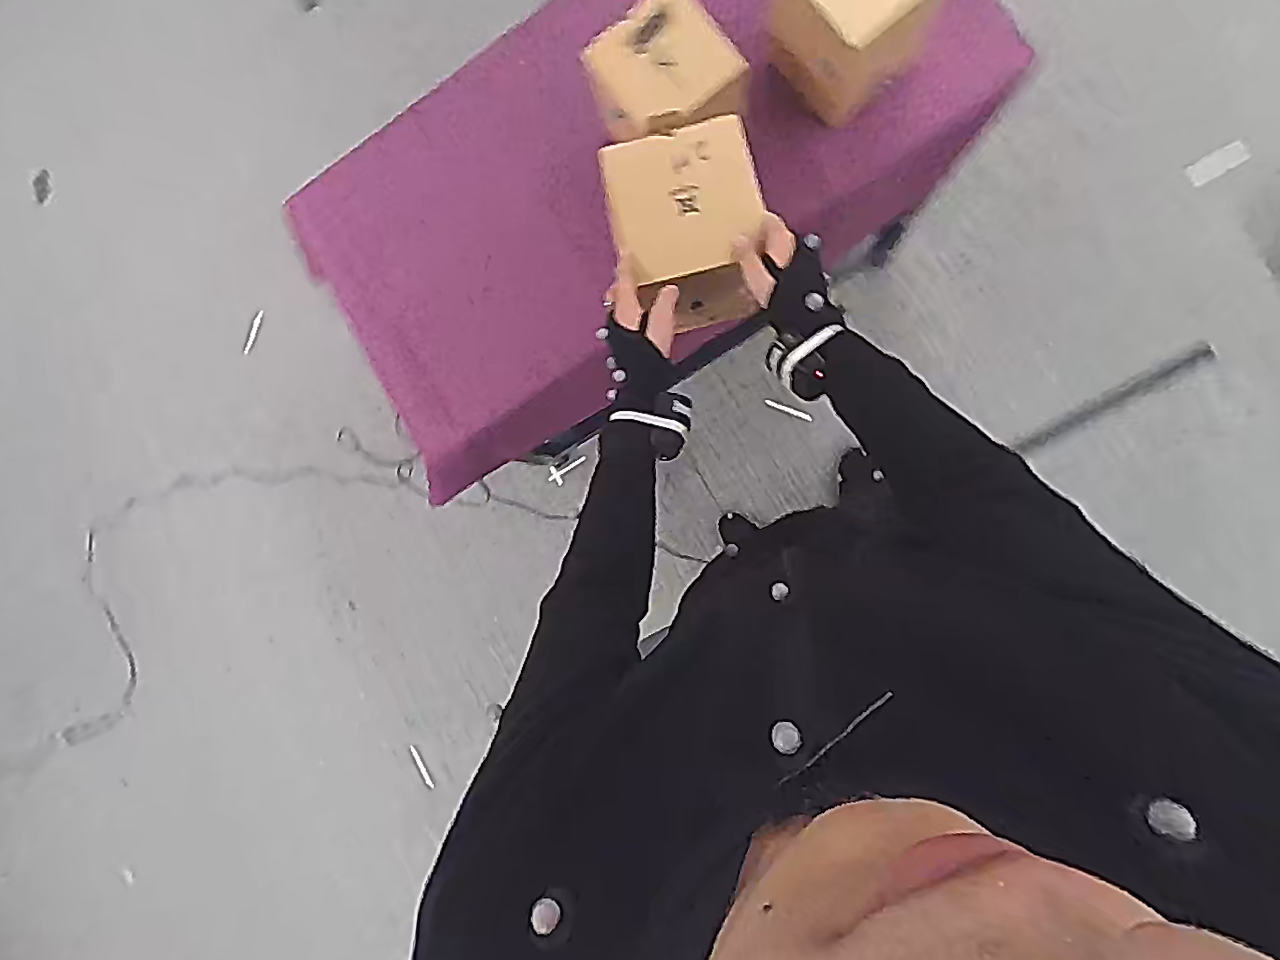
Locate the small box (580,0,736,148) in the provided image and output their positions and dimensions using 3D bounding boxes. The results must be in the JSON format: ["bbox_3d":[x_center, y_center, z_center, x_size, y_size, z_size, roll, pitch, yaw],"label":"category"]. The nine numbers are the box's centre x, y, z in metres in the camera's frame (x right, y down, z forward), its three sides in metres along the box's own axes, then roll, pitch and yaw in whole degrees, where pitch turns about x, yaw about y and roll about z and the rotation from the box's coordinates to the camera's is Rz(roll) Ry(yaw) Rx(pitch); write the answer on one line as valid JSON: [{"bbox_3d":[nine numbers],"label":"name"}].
[{"bbox_3d":[0.034,-0.601,0.860,0.168,0.176,0.179,-37,84,7],"label":"small box"}]

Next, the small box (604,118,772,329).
[{"bbox_3d":[0.059,-0.315,0.706,0.168,0.176,0.179,-14,82,0],"label":"small box"}]
